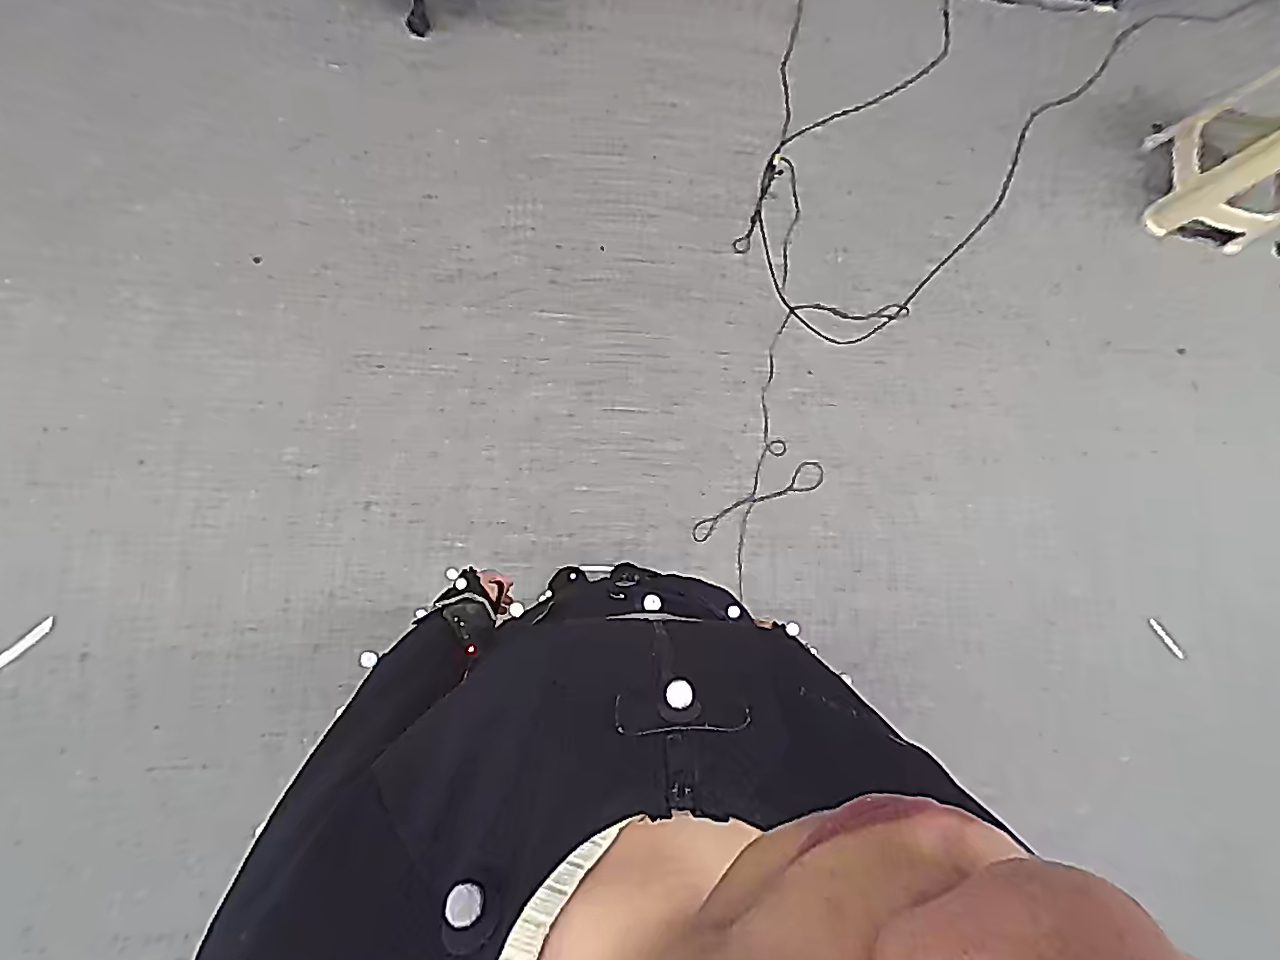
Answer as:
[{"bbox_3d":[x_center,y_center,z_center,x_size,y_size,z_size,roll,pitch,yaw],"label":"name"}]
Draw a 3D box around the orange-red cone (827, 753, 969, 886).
[{"bbox_3d":[0.587,0.774,1.195,0.199,0.360,0.198,-3,82,-6],"label":"orange-red cone"}]
